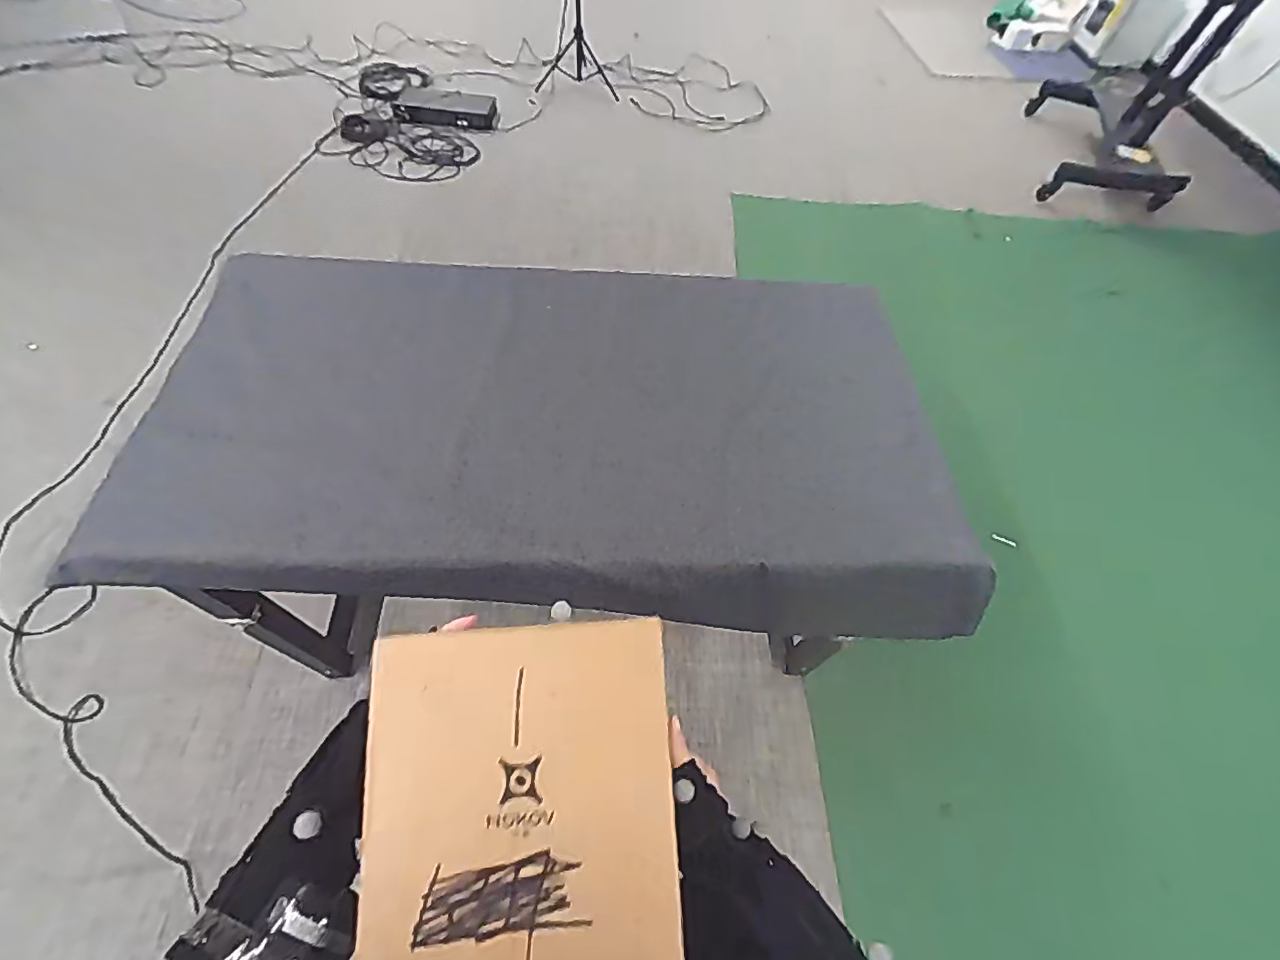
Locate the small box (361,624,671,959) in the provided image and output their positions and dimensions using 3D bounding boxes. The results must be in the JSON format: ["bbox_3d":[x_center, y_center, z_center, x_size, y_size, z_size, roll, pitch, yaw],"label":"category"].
[{"bbox_3d":[-0.064,0.194,0.375,0.168,0.176,0.179,-3,75,1],"label":"small box"}]
